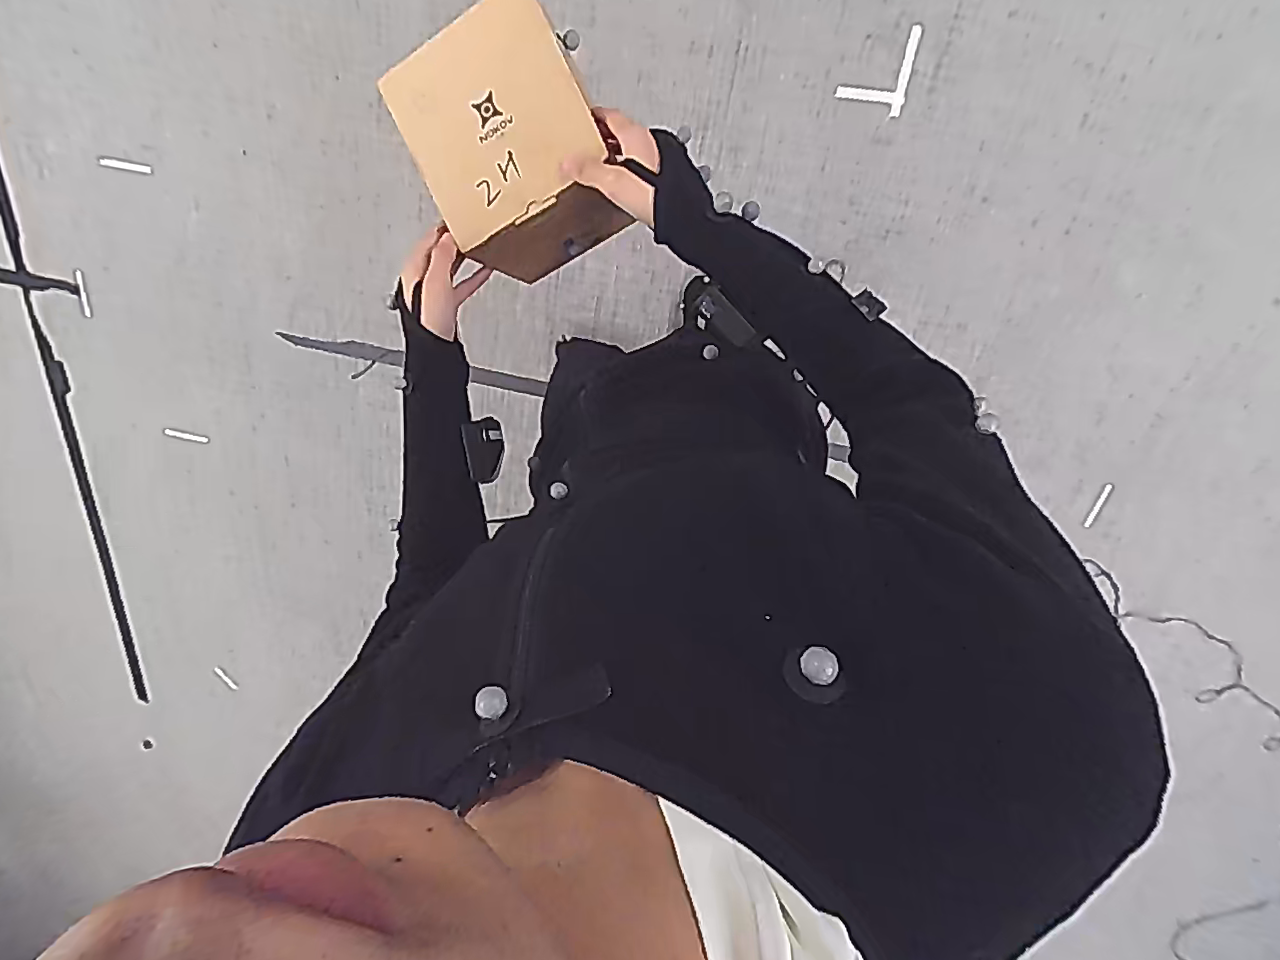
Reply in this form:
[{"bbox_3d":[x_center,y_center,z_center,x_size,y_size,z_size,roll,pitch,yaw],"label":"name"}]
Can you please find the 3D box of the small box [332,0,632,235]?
[{"bbox_3d":[-0.124,-0.355,0.488,0.168,0.176,0.179,-24,97,15],"label":"small box"}]
